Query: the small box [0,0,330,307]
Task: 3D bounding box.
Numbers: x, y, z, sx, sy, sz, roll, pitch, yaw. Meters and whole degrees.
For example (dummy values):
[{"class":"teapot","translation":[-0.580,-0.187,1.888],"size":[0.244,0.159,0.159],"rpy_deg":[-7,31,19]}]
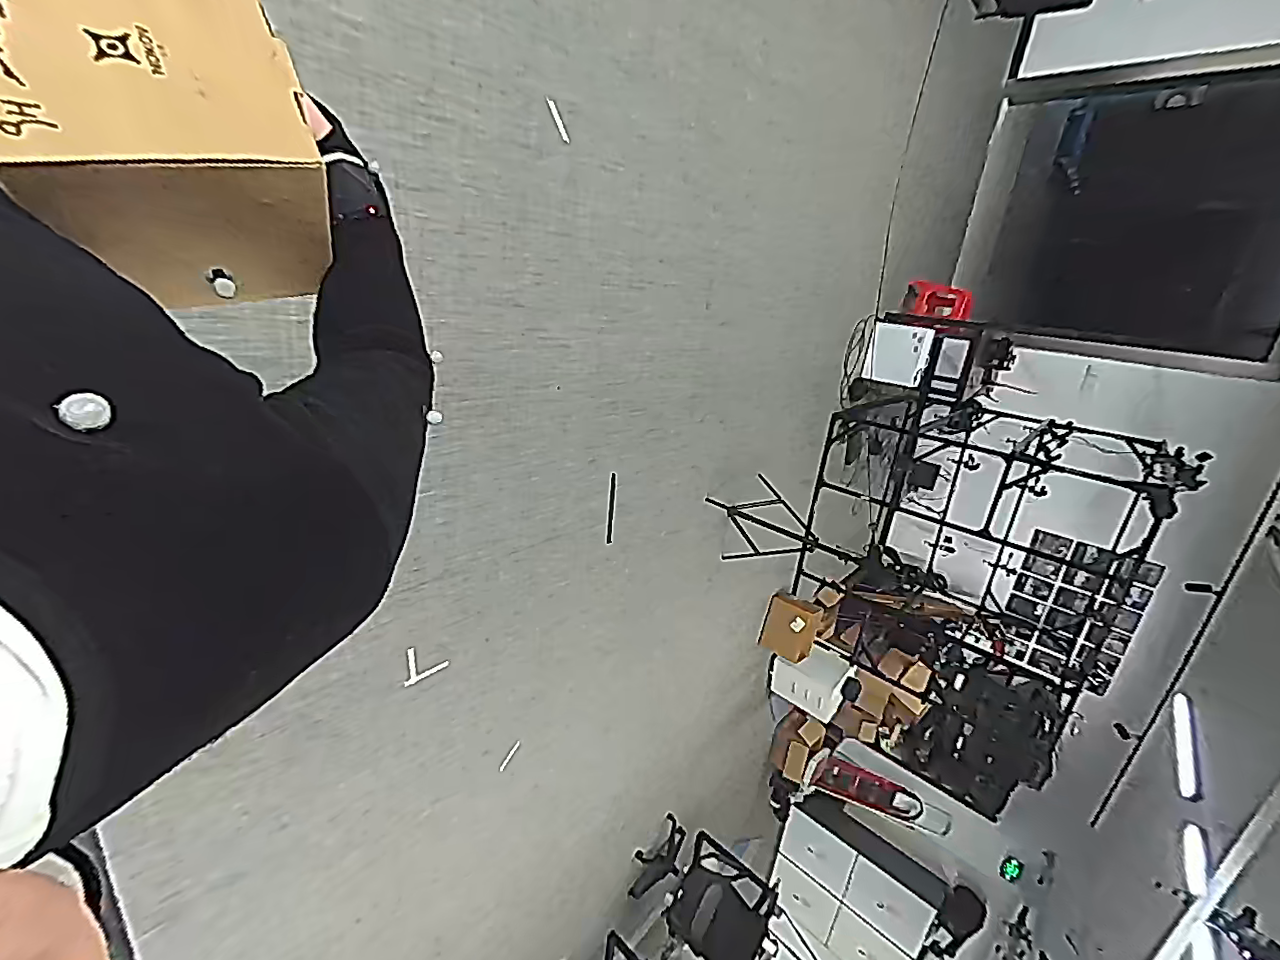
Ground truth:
[{"class":"small box","translation":[-0.367,-0.260,0.432],"size":[0.179,0.176,0.168],"rpy_deg":[-20,84,-30]}]
